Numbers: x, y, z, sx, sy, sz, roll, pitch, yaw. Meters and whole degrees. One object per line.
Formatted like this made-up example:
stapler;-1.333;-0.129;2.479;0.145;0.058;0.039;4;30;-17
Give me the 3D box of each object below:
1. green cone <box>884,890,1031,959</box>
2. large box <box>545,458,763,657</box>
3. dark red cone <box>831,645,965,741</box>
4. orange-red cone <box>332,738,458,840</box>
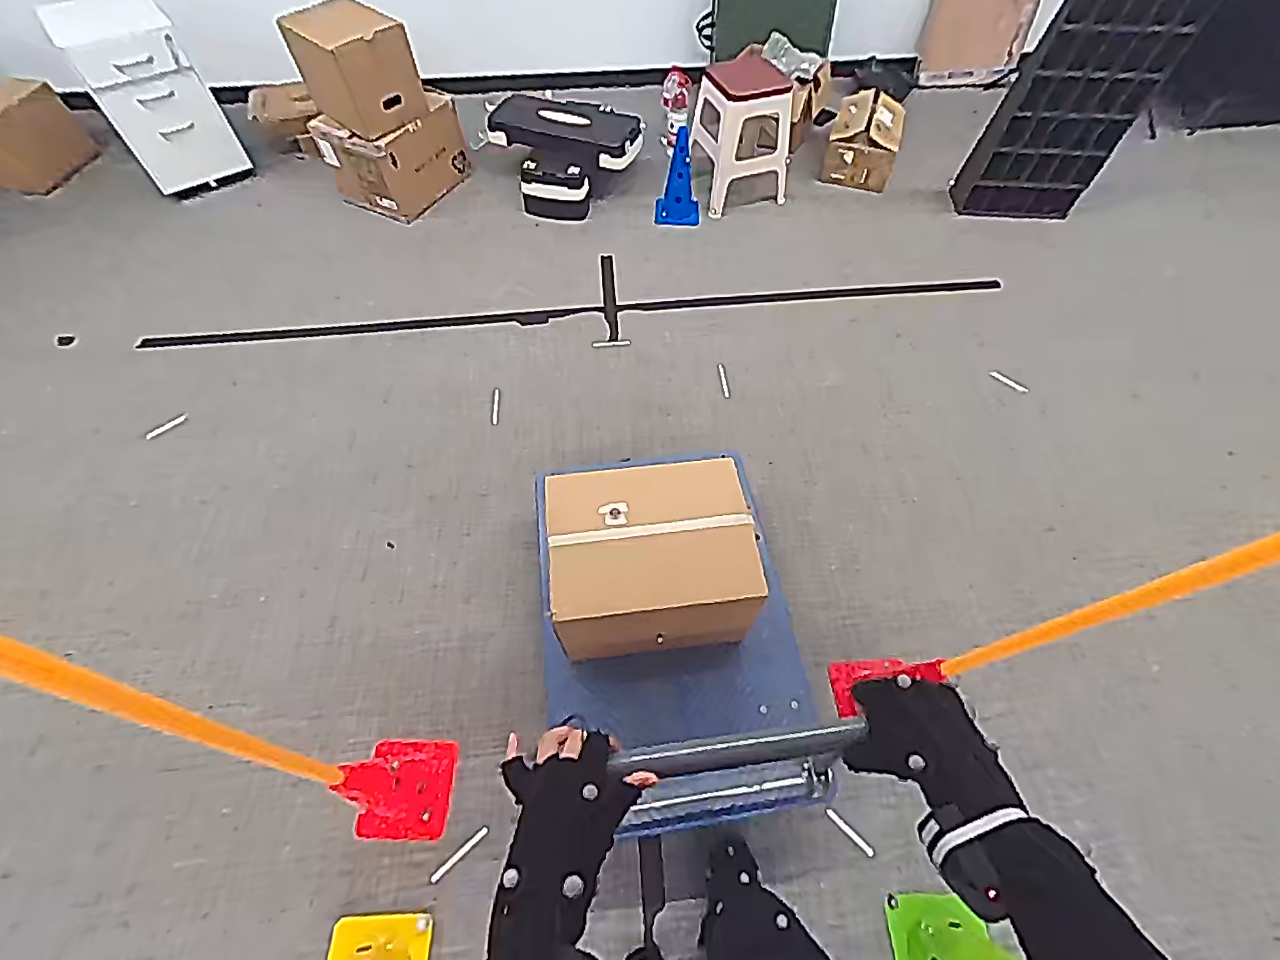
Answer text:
green cone;0.613;0.859;0.942;0.202;0.368;0.200;0;58;-2
large box;0.018;0.181;1.199;0.408;0.320;0.320;-6;59;-3
dark red cone;0.590;0.440;1.187;0.201;0.394;0.202;-3;58;-5
orange-red cone;-0.528;0.609;1.097;0.198;0.360;0.199;3;56;0
